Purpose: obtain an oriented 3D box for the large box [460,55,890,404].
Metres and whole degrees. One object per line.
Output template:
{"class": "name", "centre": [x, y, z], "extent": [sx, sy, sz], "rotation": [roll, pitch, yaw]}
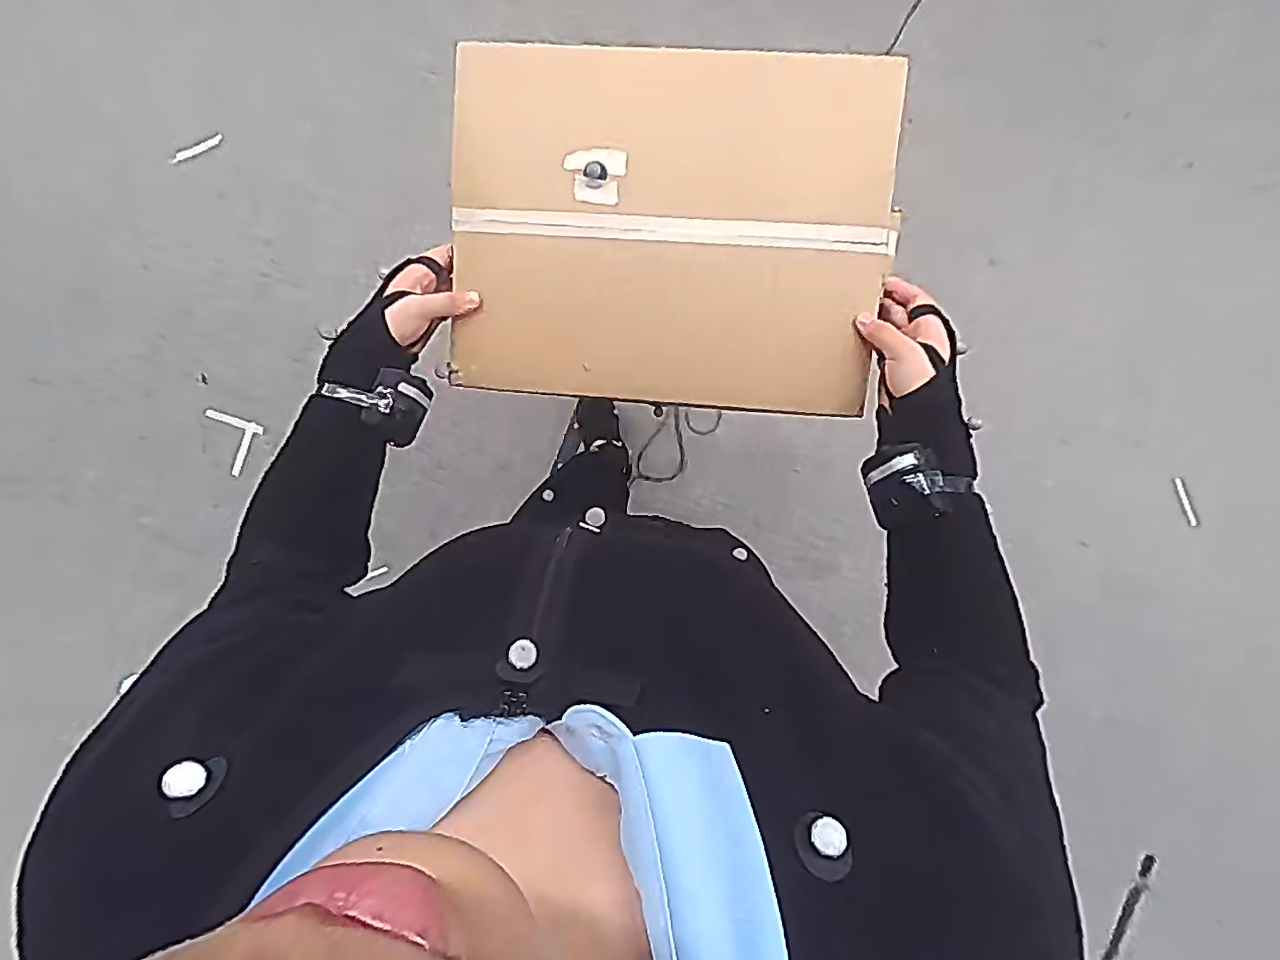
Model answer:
{"class": "large box", "centre": [0.036, -0.257, 0.664], "extent": [0.408, 0.320, 0.320], "rotation": [4, 96, 5]}
